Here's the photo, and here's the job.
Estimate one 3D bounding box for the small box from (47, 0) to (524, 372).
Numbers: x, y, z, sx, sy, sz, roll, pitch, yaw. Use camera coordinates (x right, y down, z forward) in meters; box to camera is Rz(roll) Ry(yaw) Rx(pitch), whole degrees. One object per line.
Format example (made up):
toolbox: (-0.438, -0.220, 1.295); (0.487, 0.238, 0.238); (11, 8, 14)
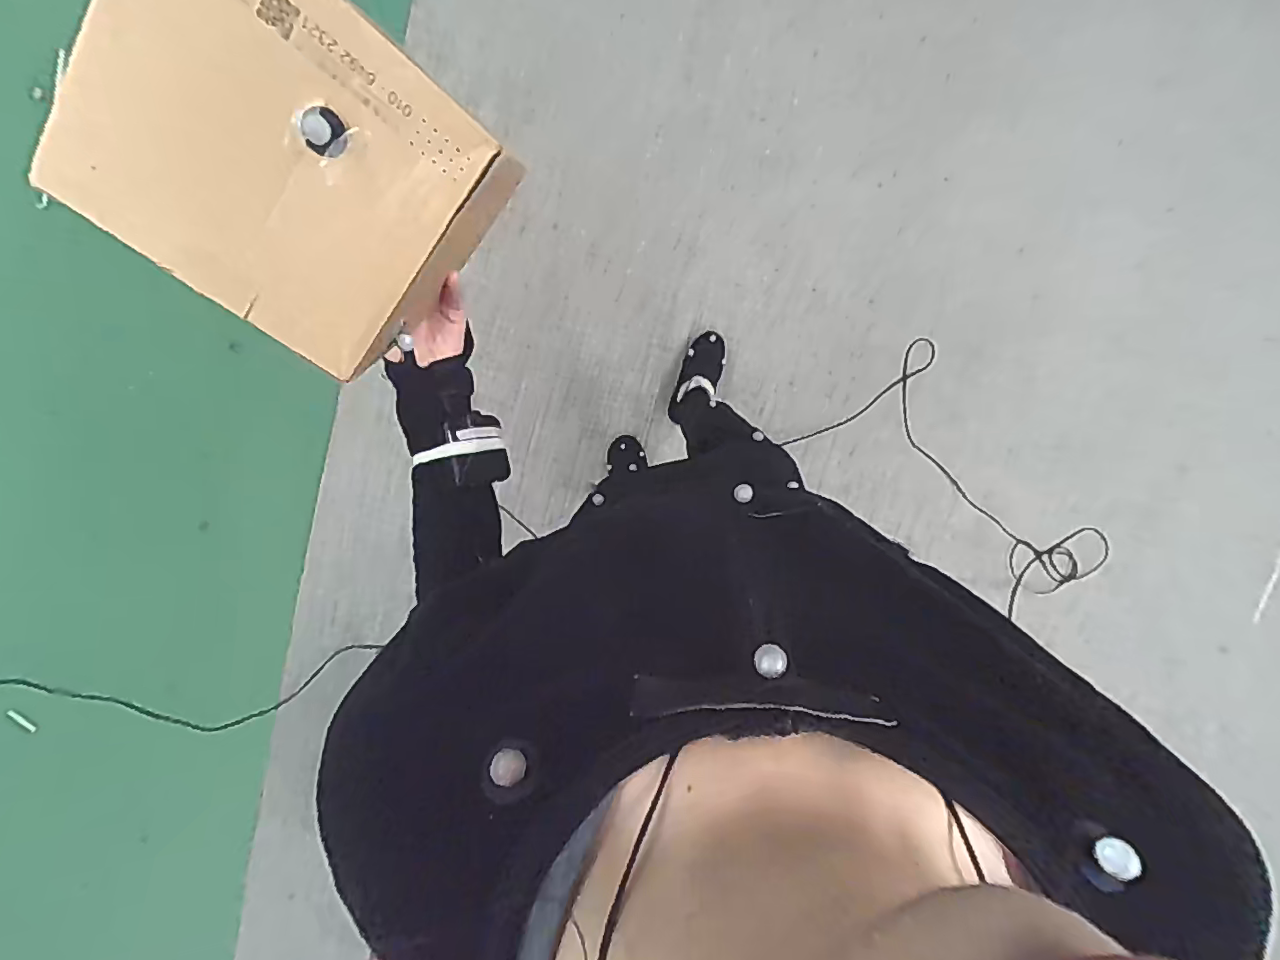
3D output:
small box: (-0.192, -0.204, 0.350); (0.168, 0.179, 0.176); (36, 108, -20)
